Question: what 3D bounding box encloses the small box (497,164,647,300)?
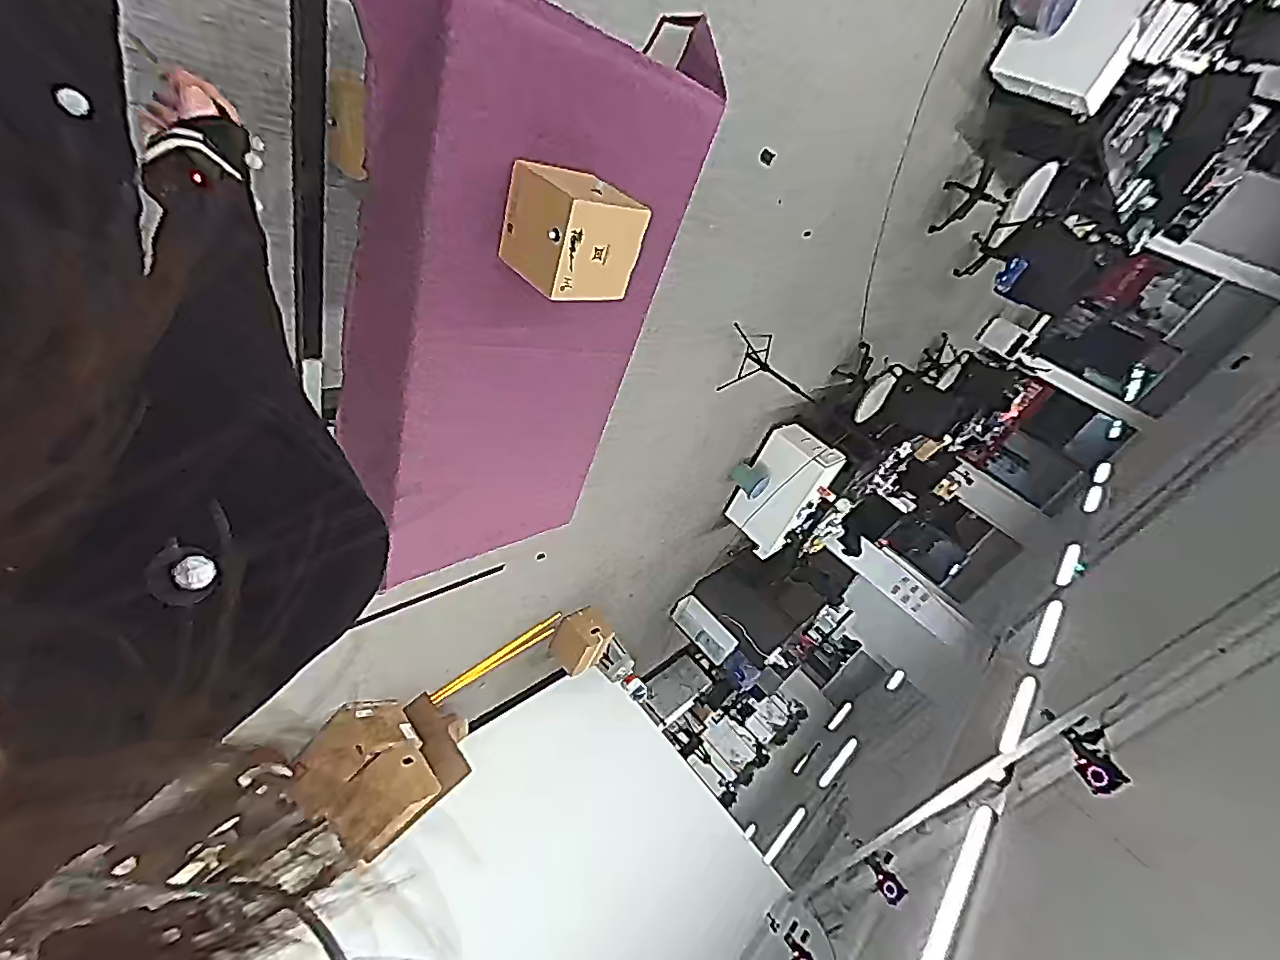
[{"bbox_3d":[-0.123,-0.435,0.958,0.179,0.176,0.168,-20,144,-44],"label":"small box"}]
